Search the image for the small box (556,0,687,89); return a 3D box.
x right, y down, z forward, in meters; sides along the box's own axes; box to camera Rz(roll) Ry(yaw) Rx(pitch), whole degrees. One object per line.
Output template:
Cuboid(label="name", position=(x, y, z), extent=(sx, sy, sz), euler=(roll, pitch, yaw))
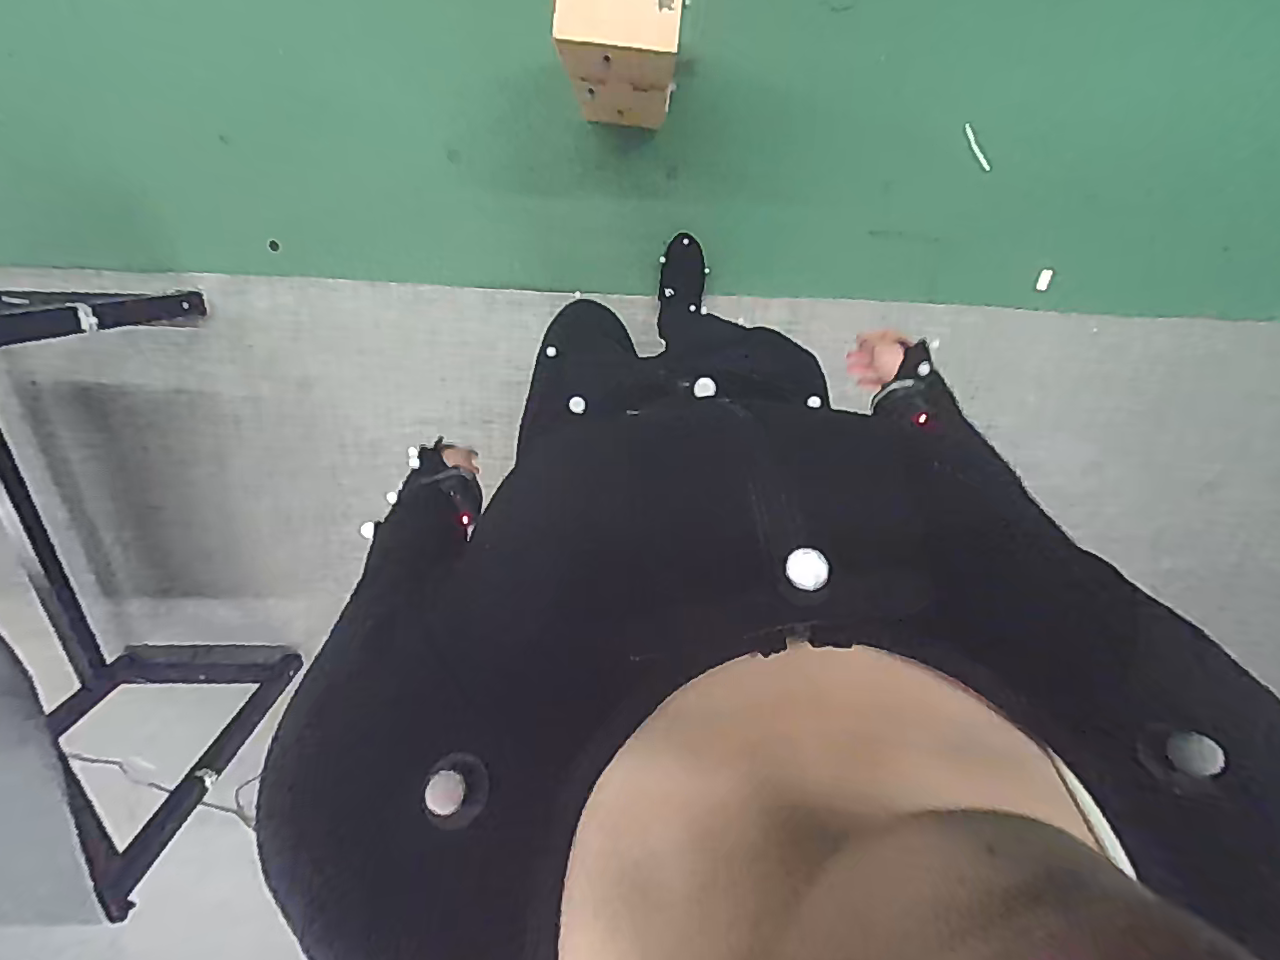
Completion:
Cuboid(label="small box", position=(-0.022, -0.697, 0.791), extent=(0.179, 0.176, 0.168), euler=(5, 112, -2))

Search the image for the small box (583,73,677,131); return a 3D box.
Cuboid(label="small box", position=(-0.017, -0.824, 1.094), extent=(0.179, 0.176, 0.168), euler=(6, 113, -3))
